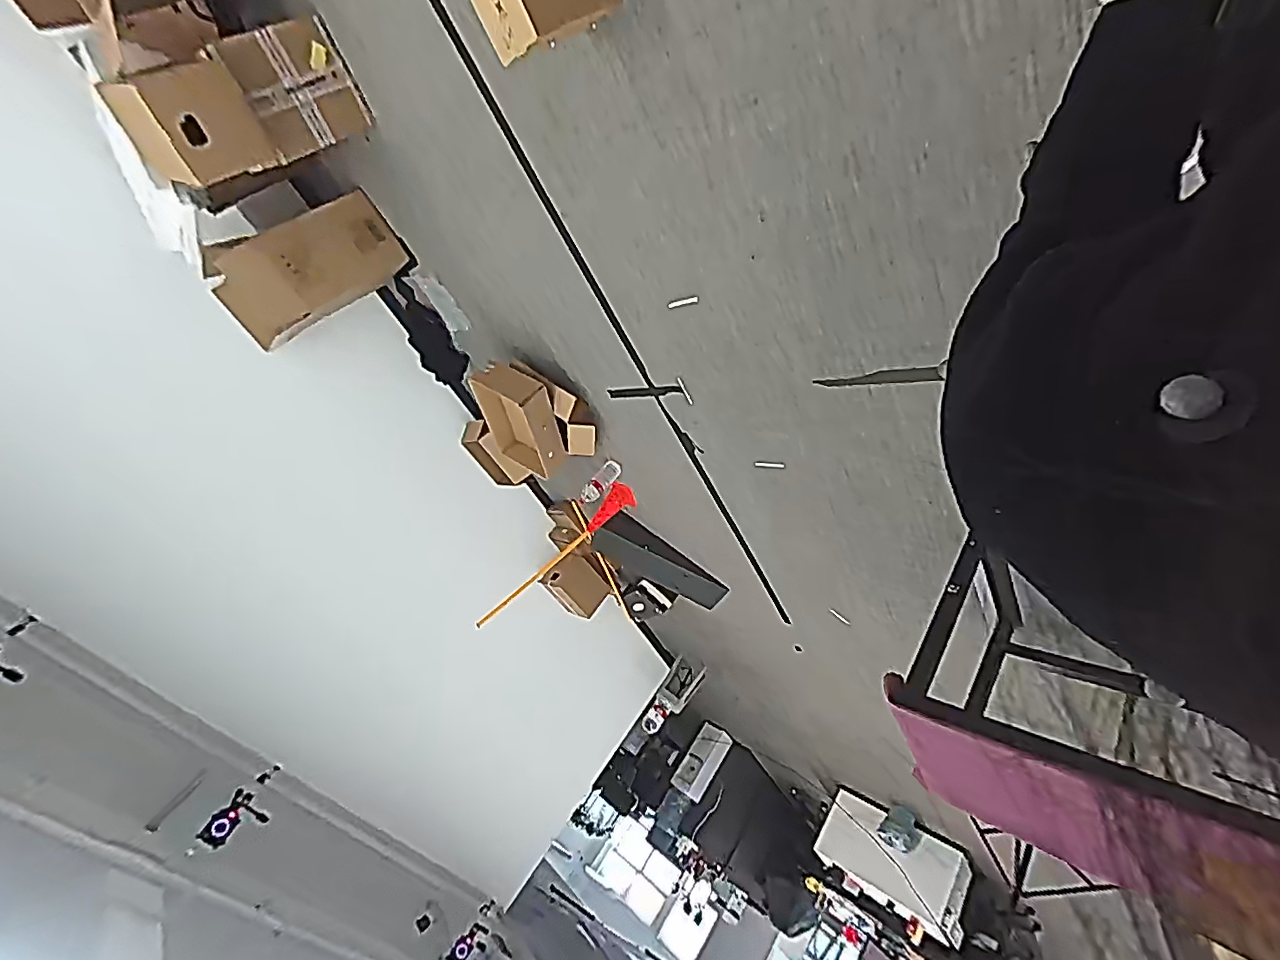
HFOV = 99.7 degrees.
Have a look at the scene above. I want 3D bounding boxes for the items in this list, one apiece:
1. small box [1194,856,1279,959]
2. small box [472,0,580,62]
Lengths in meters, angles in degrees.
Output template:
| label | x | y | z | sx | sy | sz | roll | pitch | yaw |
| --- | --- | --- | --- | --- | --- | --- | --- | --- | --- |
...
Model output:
| label | x | y | z | sx | sy | sz | roll | pitch | yaw |
| --- | --- | --- | --- | --- | --- | --- | --- | --- | --- |
| small box | 1.285 | 0.933 | 1.121 | 0.179 | 0.176 | 0.168 | 5 | 136 | 51 |
| small box | -0.280 | -1.167 | 1.306 | 0.168 | 0.176 | 0.179 | 11 | 141 | 46 |
